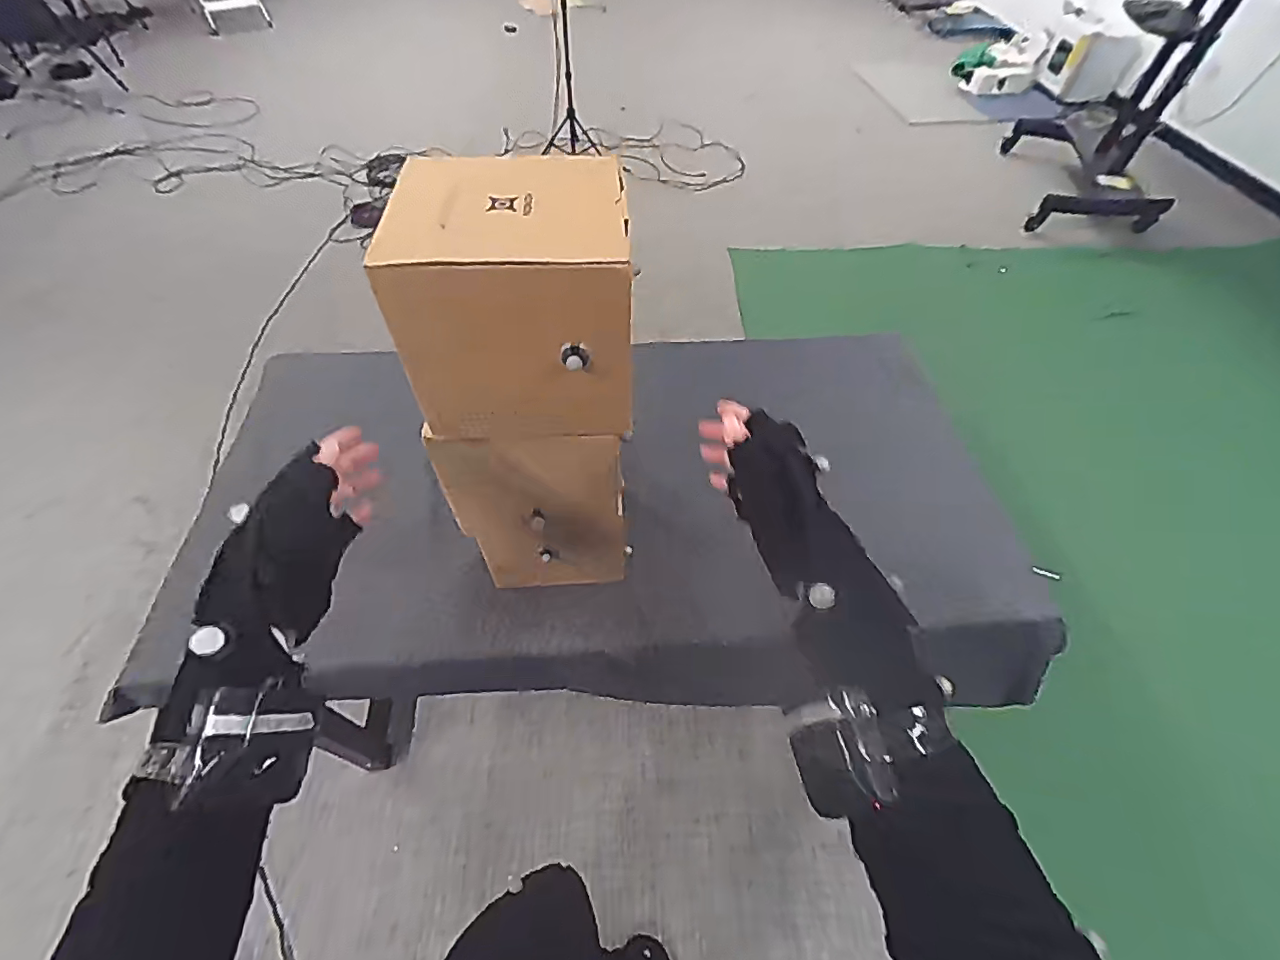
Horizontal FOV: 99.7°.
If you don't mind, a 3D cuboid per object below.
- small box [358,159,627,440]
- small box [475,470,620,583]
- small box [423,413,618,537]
[{"bbox_3d":[-0.103,-0.150,0.464,0.179,0.176,0.168,-4,52,-3],"label":"small box"},{"bbox_3d":[-0.119,0.029,0.737,0.179,0.176,0.168,-3,53,-3],"label":"small box"},{"bbox_3d":[-0.116,-0.050,0.596,0.179,0.176,0.168,-4,54,-4],"label":"small box"}]
